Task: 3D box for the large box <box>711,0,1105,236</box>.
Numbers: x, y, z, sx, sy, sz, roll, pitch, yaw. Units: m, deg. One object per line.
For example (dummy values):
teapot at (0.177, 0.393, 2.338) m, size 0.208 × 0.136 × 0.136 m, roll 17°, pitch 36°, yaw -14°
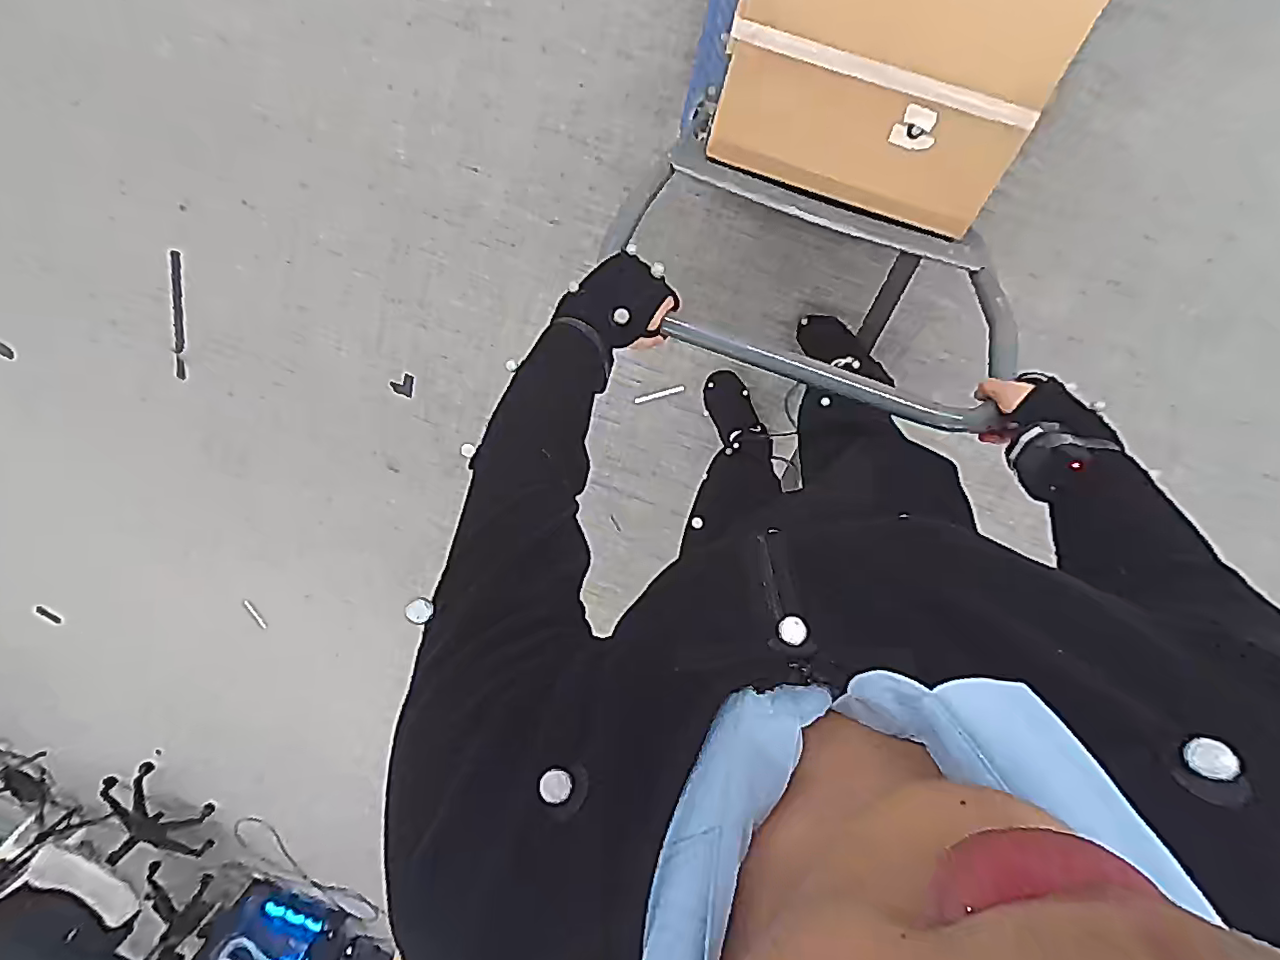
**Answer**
large box at (0.358, -0.626, 0.823) m, size 0.408 × 0.320 × 0.320 m, roll 19°, pitch 134°, yaw 1°
